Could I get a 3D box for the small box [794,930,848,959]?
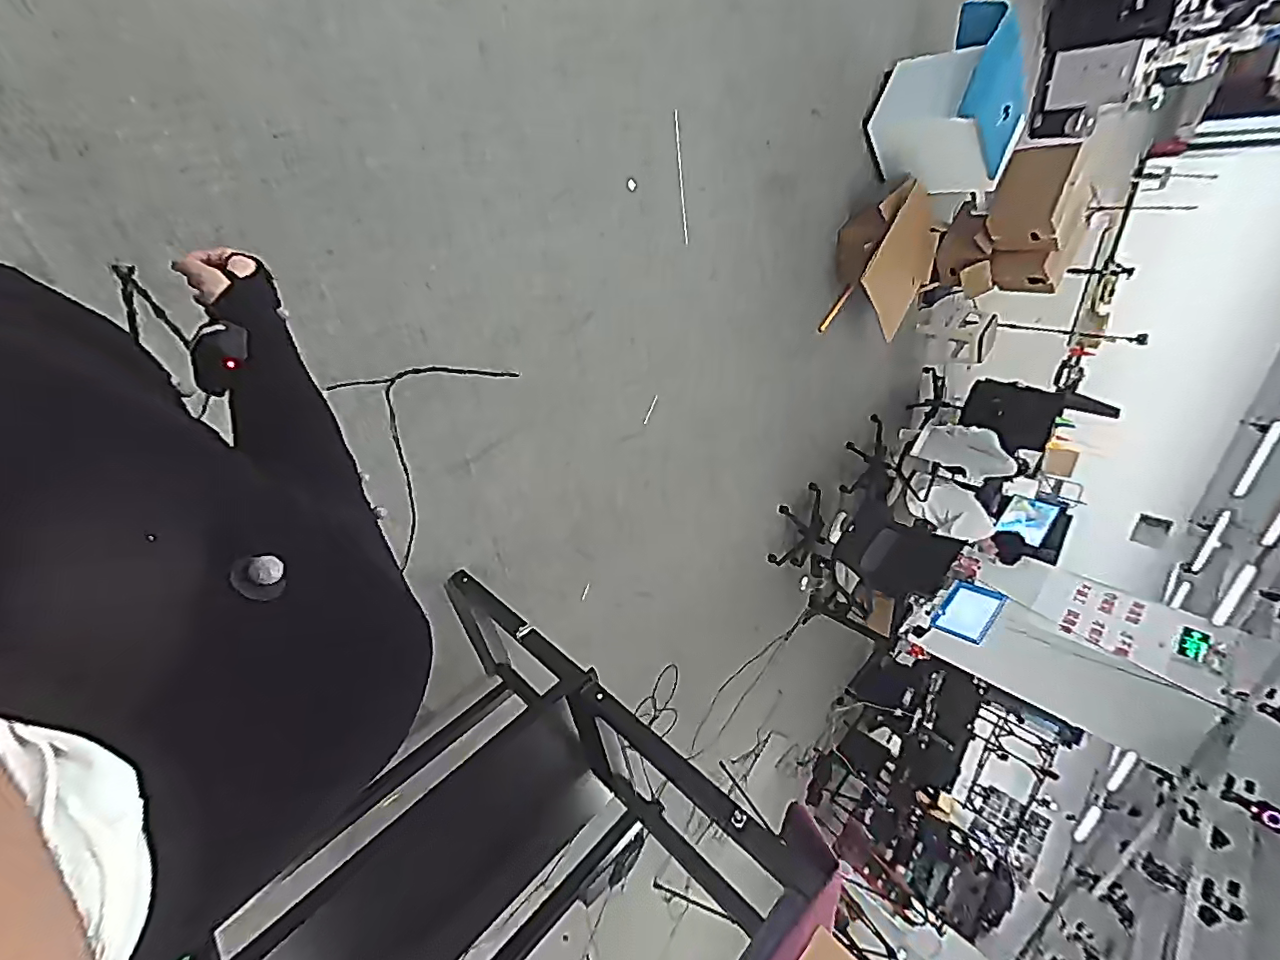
[{"bbox_3d":[0.334,0.973,0.970,0.179,0.176,0.168,-32,131,-32],"label":"small box"}]
